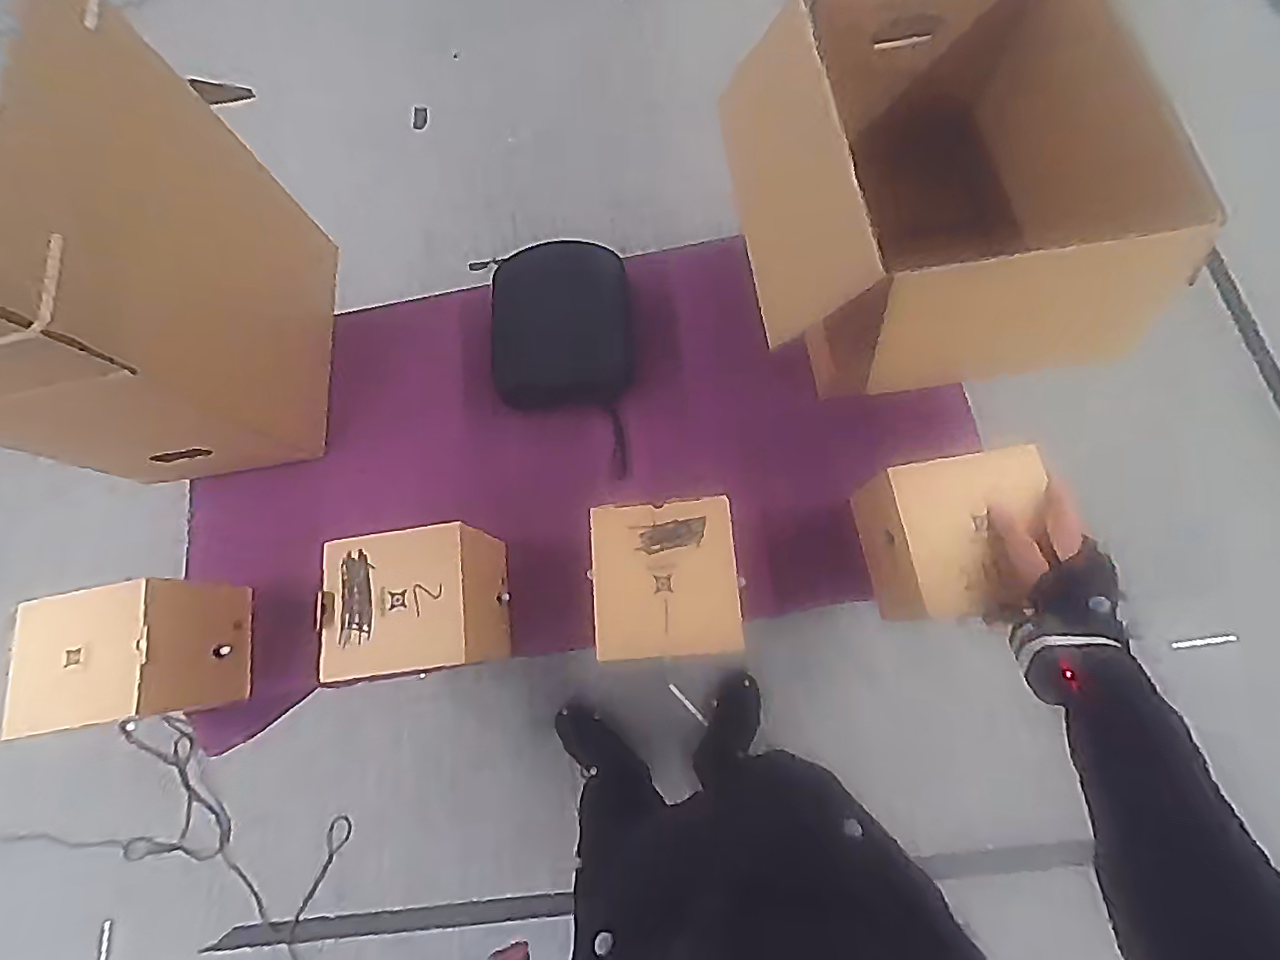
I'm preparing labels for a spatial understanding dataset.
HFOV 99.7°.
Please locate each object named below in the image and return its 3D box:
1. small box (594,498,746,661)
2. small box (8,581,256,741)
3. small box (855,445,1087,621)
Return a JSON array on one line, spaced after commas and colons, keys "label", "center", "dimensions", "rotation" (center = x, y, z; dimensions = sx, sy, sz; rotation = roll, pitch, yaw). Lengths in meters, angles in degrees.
[{"label": "small box", "center": [0.037, 0.131, 0.689], "dimensions": [0.168, 0.176, 0.179], "rotation": [-5, 75, 5]}, {"label": "small box", "center": [-0.671, 0.241, 0.736], "dimensions": [0.179, 0.176, 0.168], "rotation": [-11, 74, 2]}, {"label": "small box", "center": [0.382, 0.075, 0.664], "dimensions": [0.168, 0.176, 0.179], "rotation": [-10, 75, 5]}]
